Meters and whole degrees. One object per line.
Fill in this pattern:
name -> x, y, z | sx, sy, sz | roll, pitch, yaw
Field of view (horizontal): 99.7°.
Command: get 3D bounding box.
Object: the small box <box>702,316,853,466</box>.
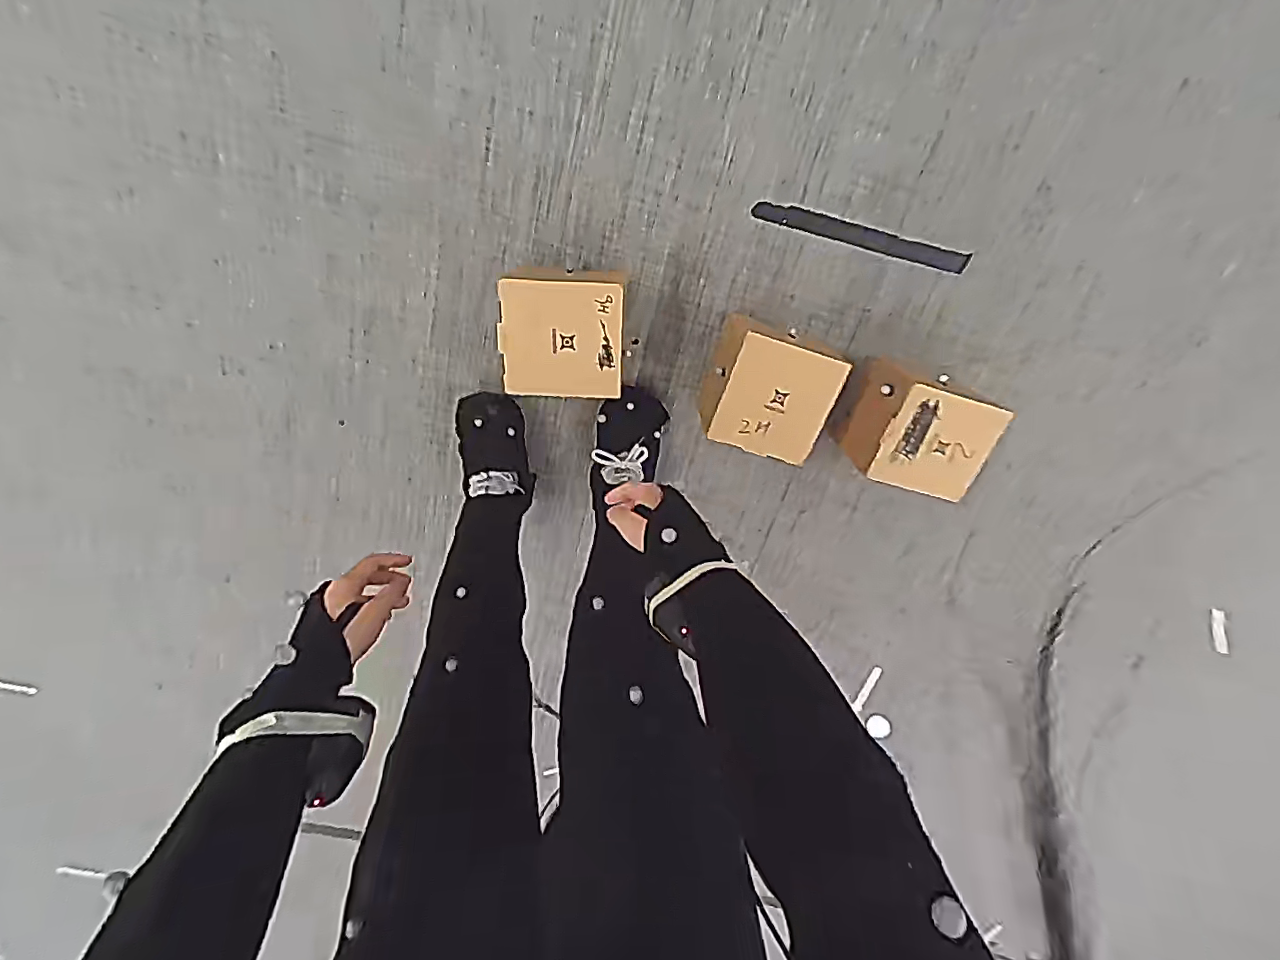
small box -> 0.208, -0.152, 0.881 | 0.168, 0.176, 0.179 | 16, 116, -7

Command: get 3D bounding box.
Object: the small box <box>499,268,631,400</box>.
small box -> -0.109, -0.233, 0.844 | 0.179, 0.176, 0.168 | 3, 117, 0
